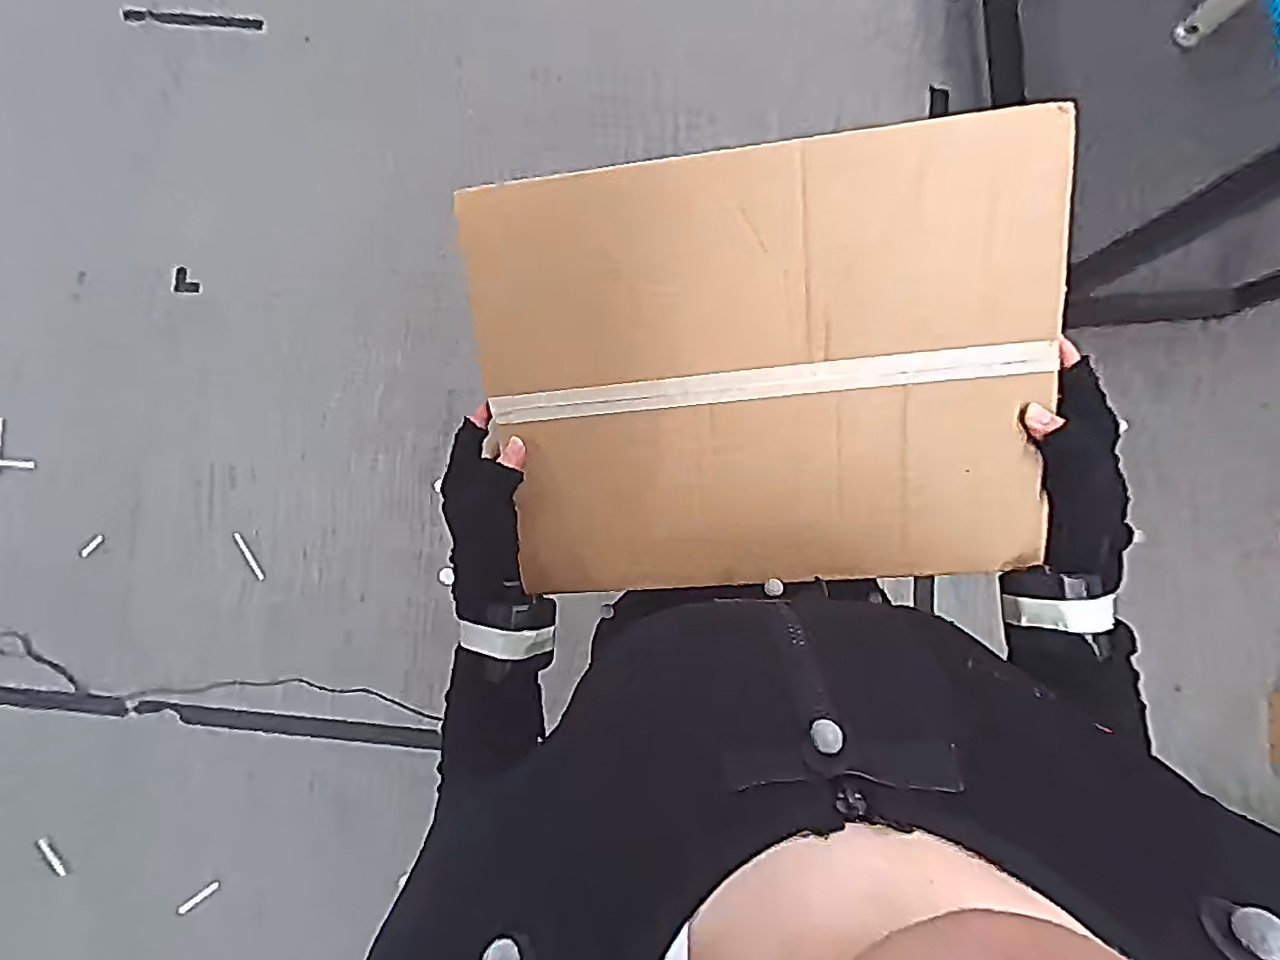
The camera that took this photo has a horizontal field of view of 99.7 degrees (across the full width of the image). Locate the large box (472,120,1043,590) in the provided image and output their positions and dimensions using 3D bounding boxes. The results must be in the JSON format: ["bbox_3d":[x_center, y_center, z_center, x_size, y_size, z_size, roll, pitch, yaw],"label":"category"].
[{"bbox_3d":[0.099,-0.105,0.555,0.408,0.320,0.320,-5,104,7],"label":"large box"}]
